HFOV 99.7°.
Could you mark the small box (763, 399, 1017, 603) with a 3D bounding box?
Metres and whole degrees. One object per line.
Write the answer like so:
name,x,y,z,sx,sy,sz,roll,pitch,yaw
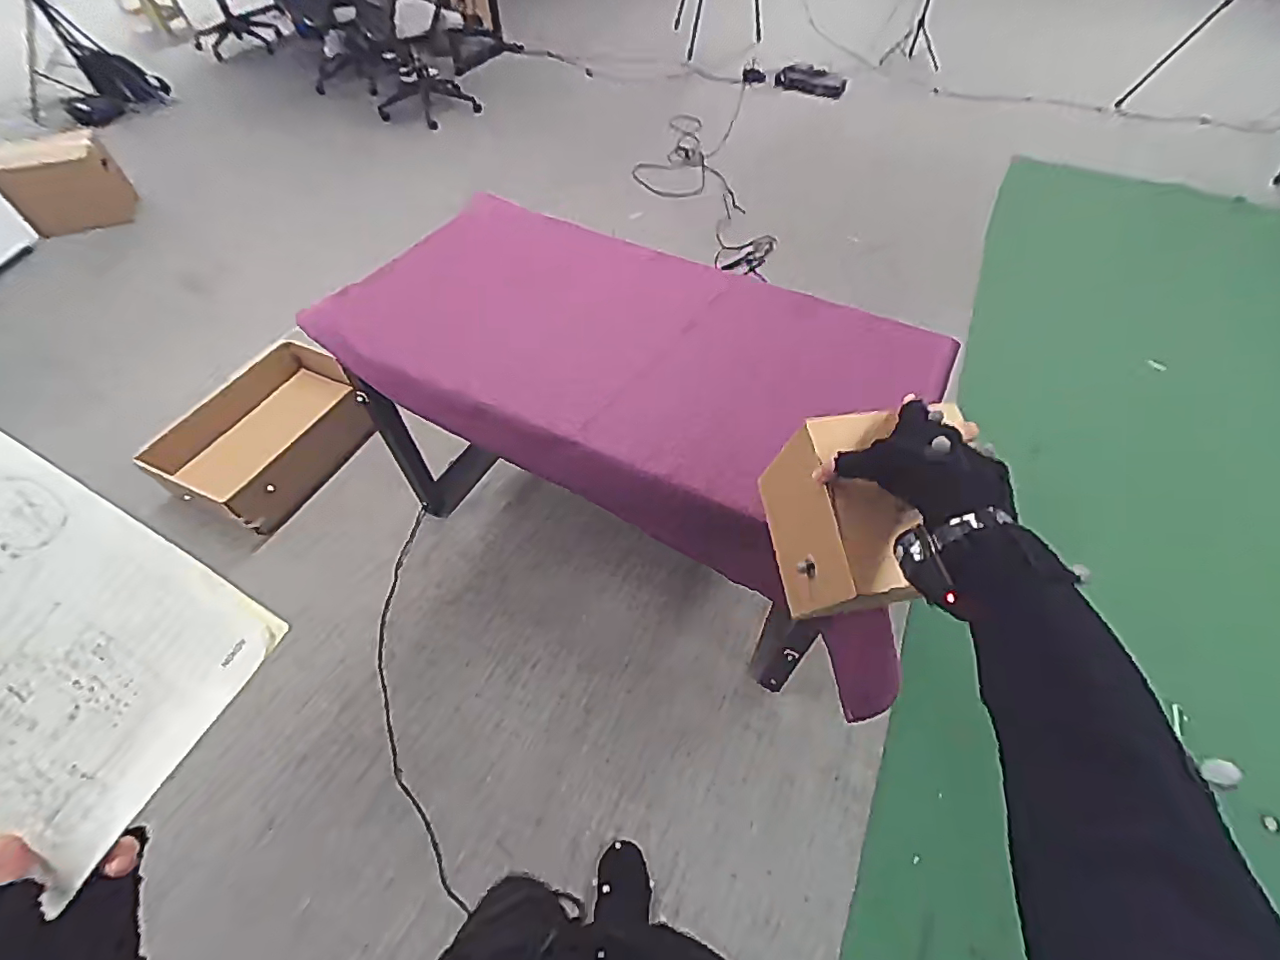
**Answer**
small box,0.249,0.033,0.588,0.168,0.176,0.179,-6,70,-7
